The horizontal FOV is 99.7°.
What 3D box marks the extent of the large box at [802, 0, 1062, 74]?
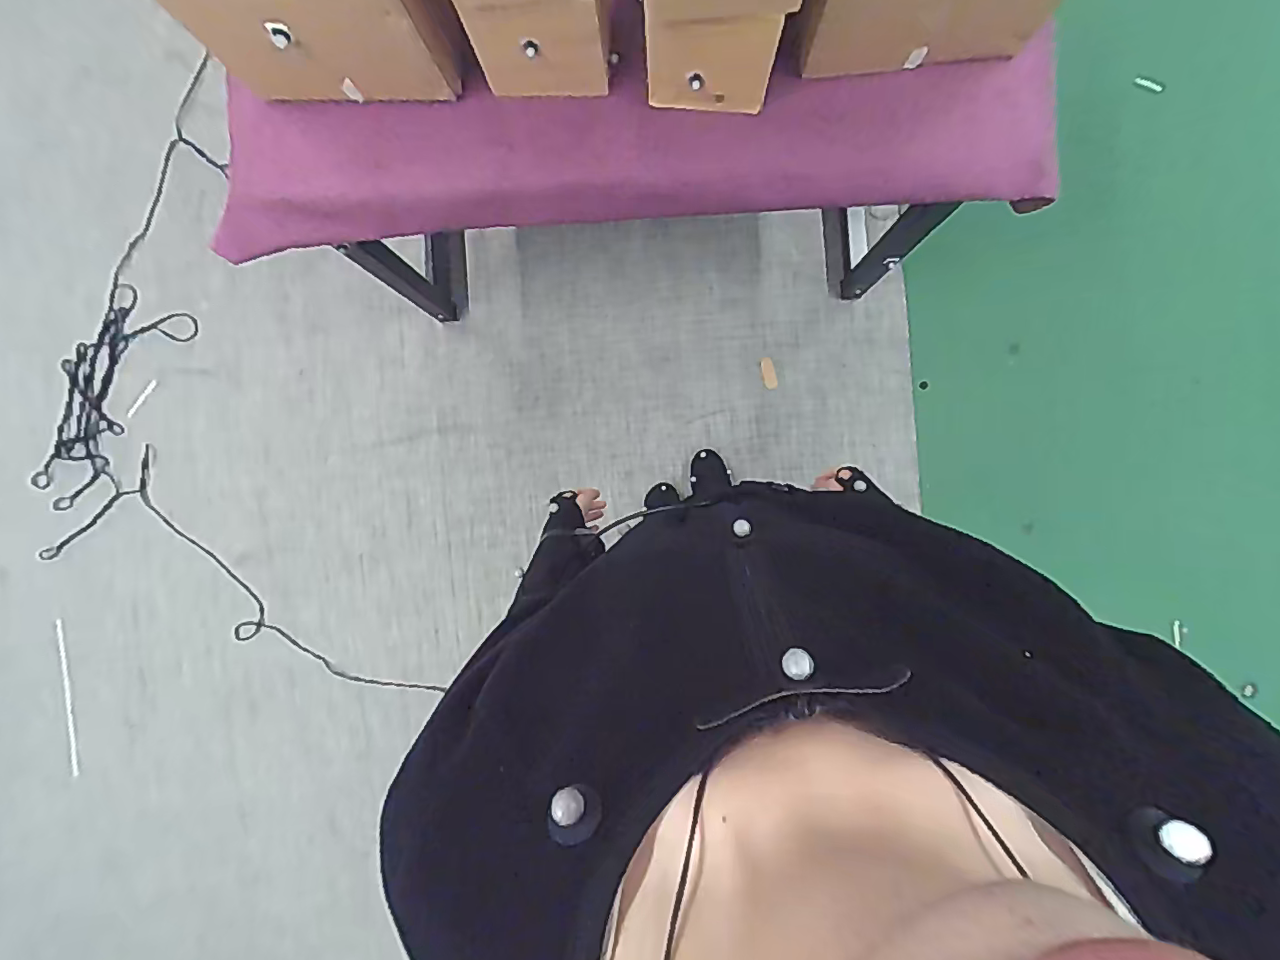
[{"bbox_3d":[0.368,-0.790,0.622,0.320,0.320,0.408,-4,91,5],"label":"large box"}]
